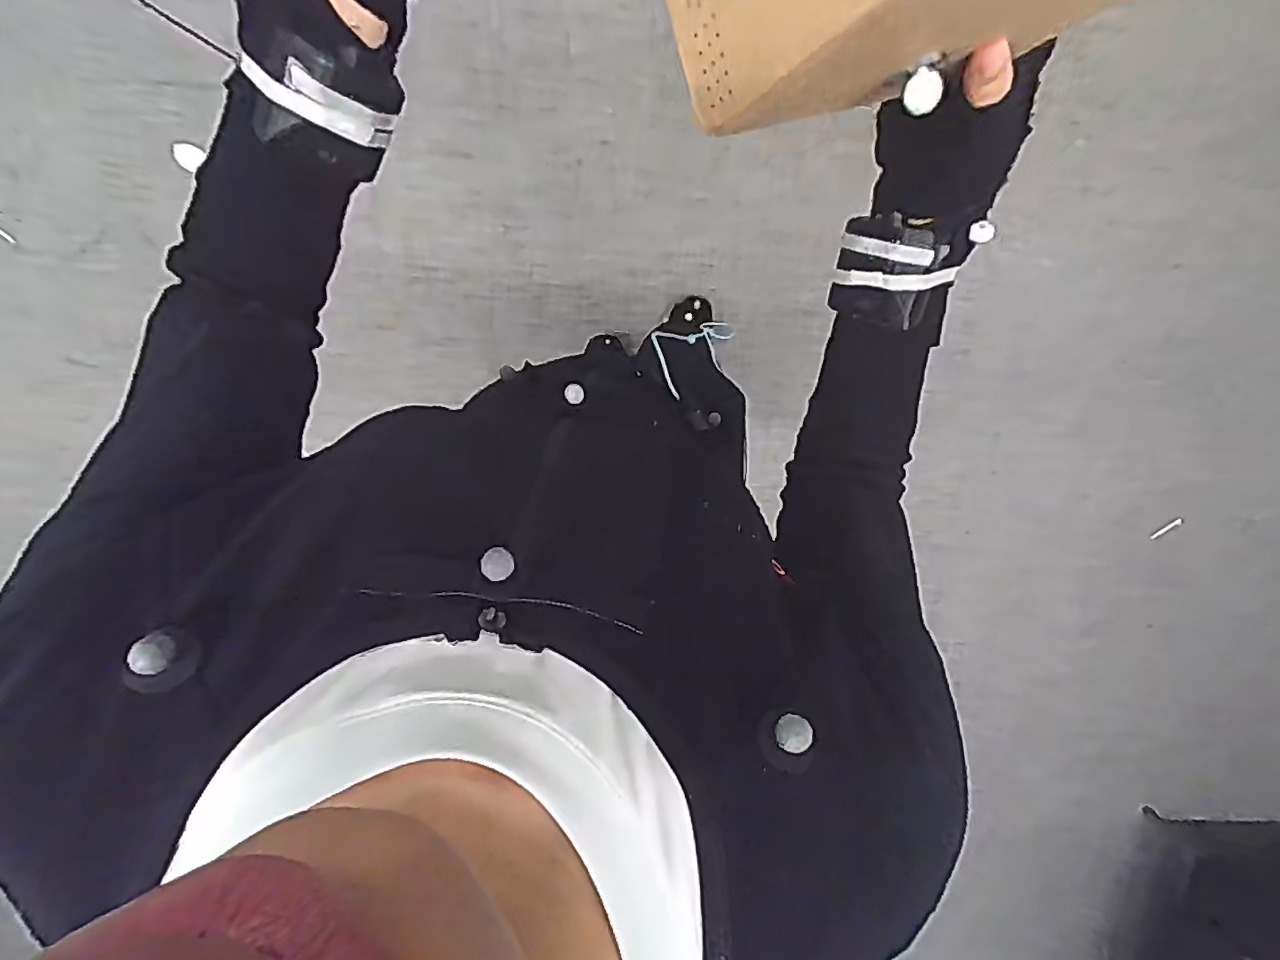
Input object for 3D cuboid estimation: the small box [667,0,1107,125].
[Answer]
[{"bbox_3d":[0.110,-0.241,0.164,0.179,0.176,0.168,-25,109,-19],"label":"small box"}]
